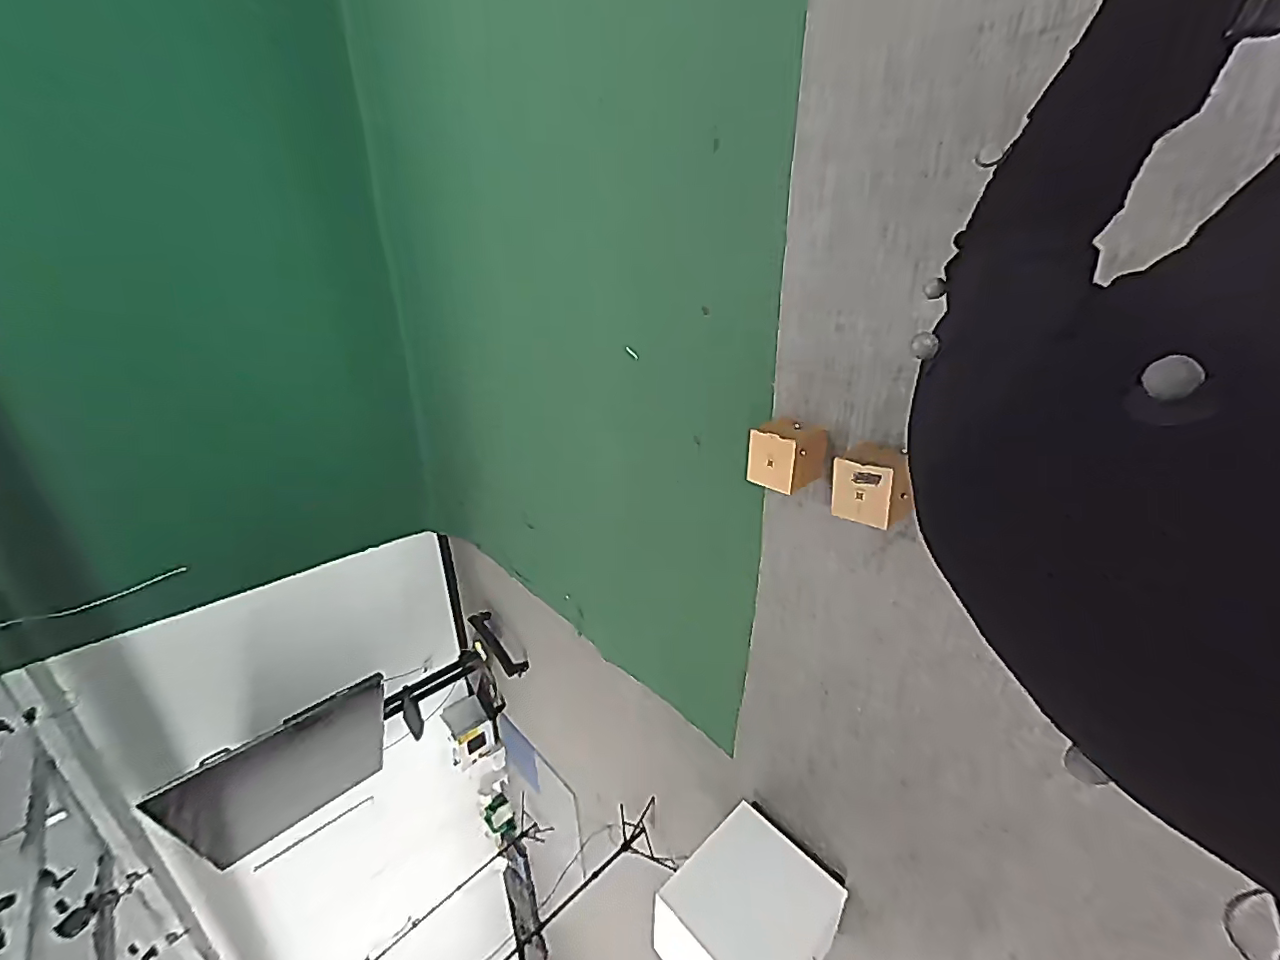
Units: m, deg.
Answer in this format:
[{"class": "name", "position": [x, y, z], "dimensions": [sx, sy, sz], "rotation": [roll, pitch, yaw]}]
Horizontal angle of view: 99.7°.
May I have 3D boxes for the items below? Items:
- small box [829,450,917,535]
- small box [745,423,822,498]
[{"class": "small box", "position": [0.648, 0.025, 1.500], "dimensions": [0.168, 0.176, 0.179], "rotation": [18, 119, 45]}, {"class": "small box", "position": [0.452, -0.067, 1.697], "dimensions": [0.168, 0.176, 0.179], "rotation": [22, 121, 42]}]
